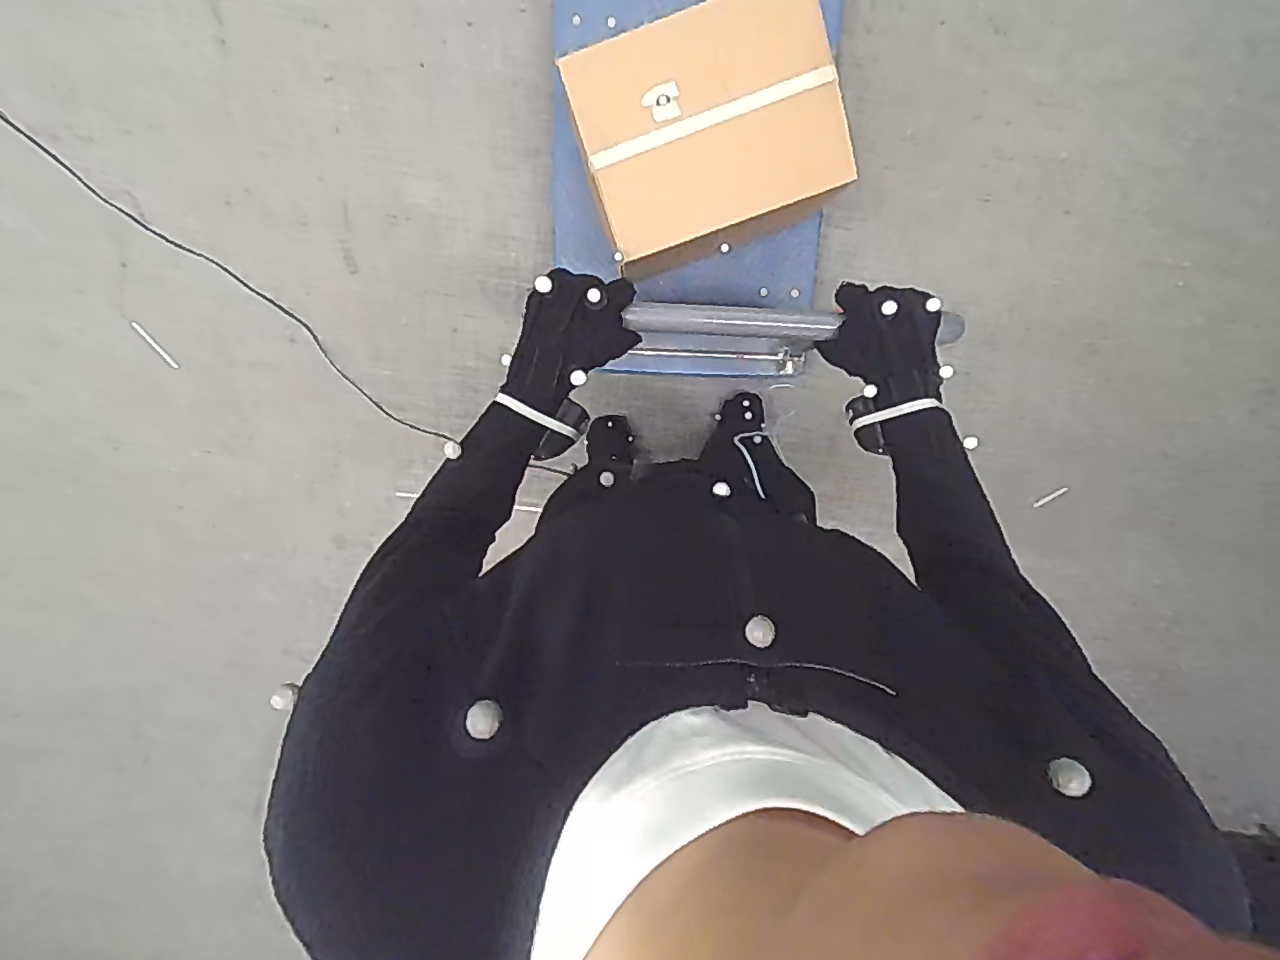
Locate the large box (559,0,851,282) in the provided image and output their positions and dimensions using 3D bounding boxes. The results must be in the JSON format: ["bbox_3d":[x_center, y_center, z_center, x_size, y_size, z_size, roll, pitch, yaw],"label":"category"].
[{"bbox_3d":[0.109,-0.604,1.005,0.408,0.320,0.320,-19,102,5],"label":"large box"}]
